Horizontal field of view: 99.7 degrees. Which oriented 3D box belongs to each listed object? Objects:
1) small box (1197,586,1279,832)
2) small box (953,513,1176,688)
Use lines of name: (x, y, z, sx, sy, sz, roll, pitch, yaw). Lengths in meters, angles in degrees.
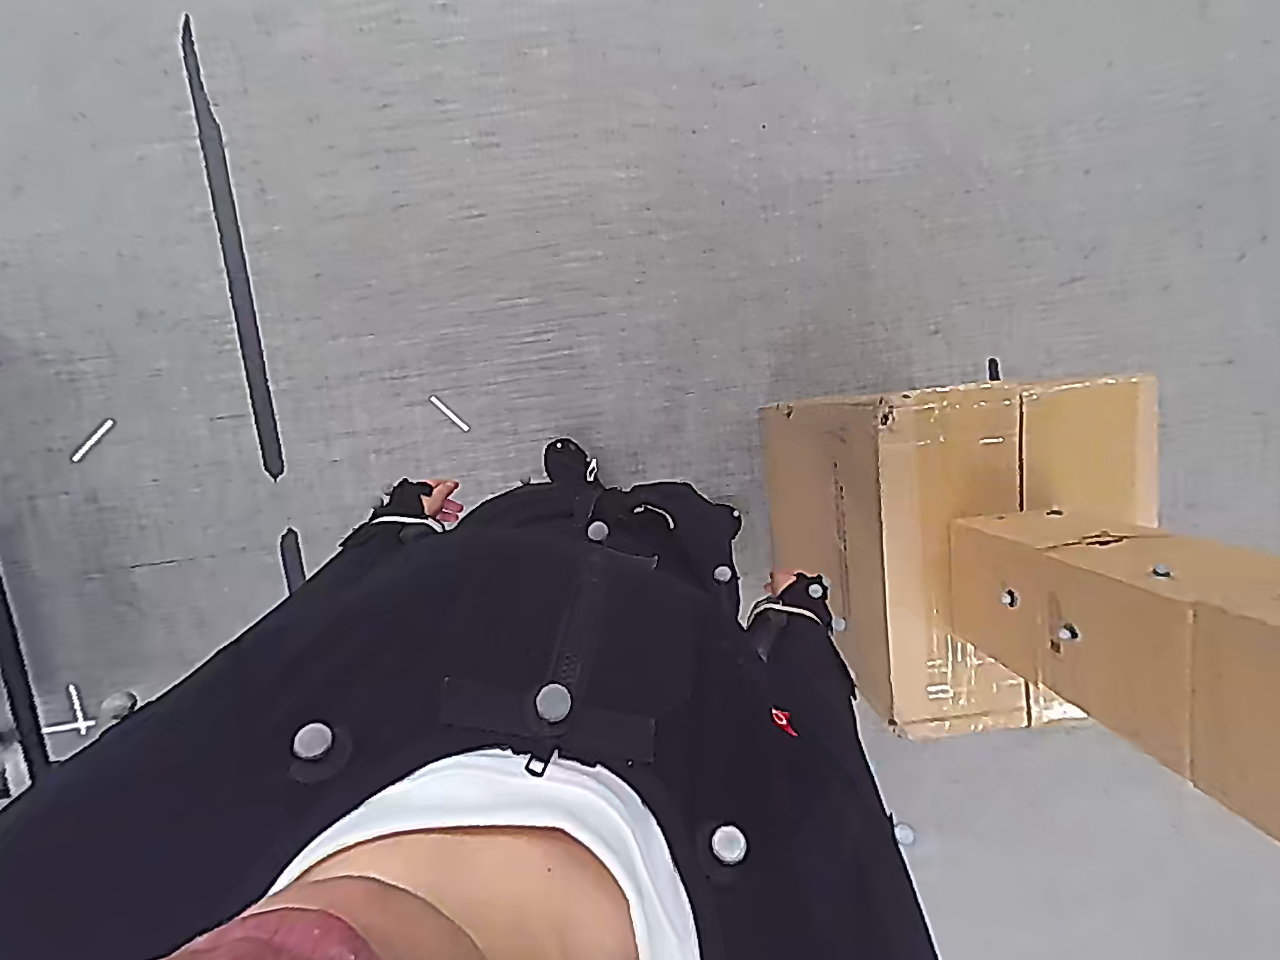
small box: (0.554, 0.183, 0.379, 0.168, 0.176, 0.179, -6, 97, -1)
small box: (0.537, 0.143, 0.706, 0.168, 0.176, 0.179, -6, 97, -1)
